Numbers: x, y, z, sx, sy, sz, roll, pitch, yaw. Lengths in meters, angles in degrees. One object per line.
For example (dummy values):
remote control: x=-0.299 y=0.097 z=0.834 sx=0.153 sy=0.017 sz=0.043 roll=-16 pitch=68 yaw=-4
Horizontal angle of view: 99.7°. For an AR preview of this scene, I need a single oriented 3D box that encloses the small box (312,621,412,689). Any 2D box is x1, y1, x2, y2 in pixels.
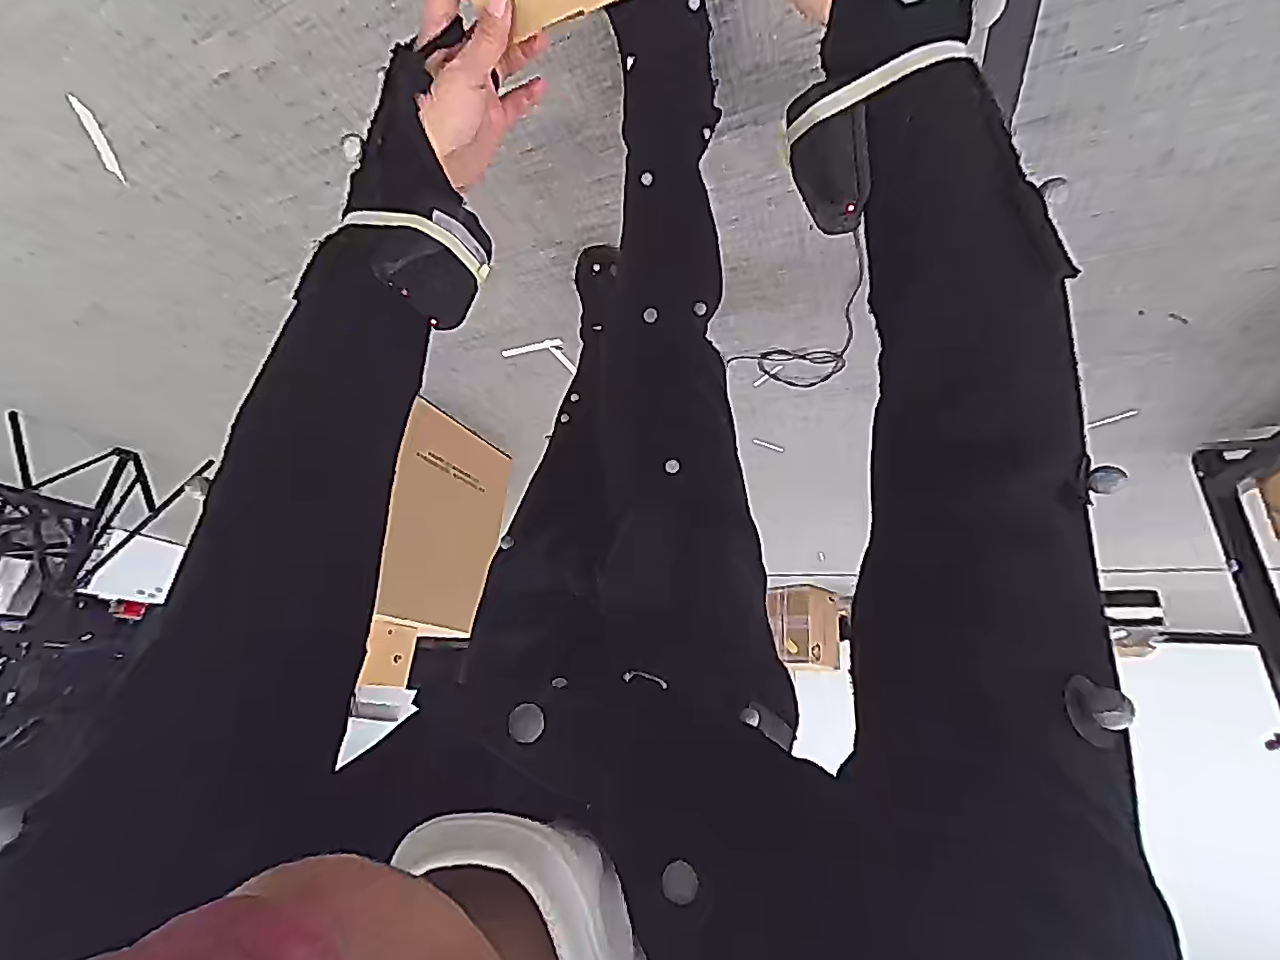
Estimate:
small box: x=-0.763 y=0.487 z=1.507 sx=0.179 sy=0.176 sz=0.168 roll=-4 pitch=157 yaw=21
